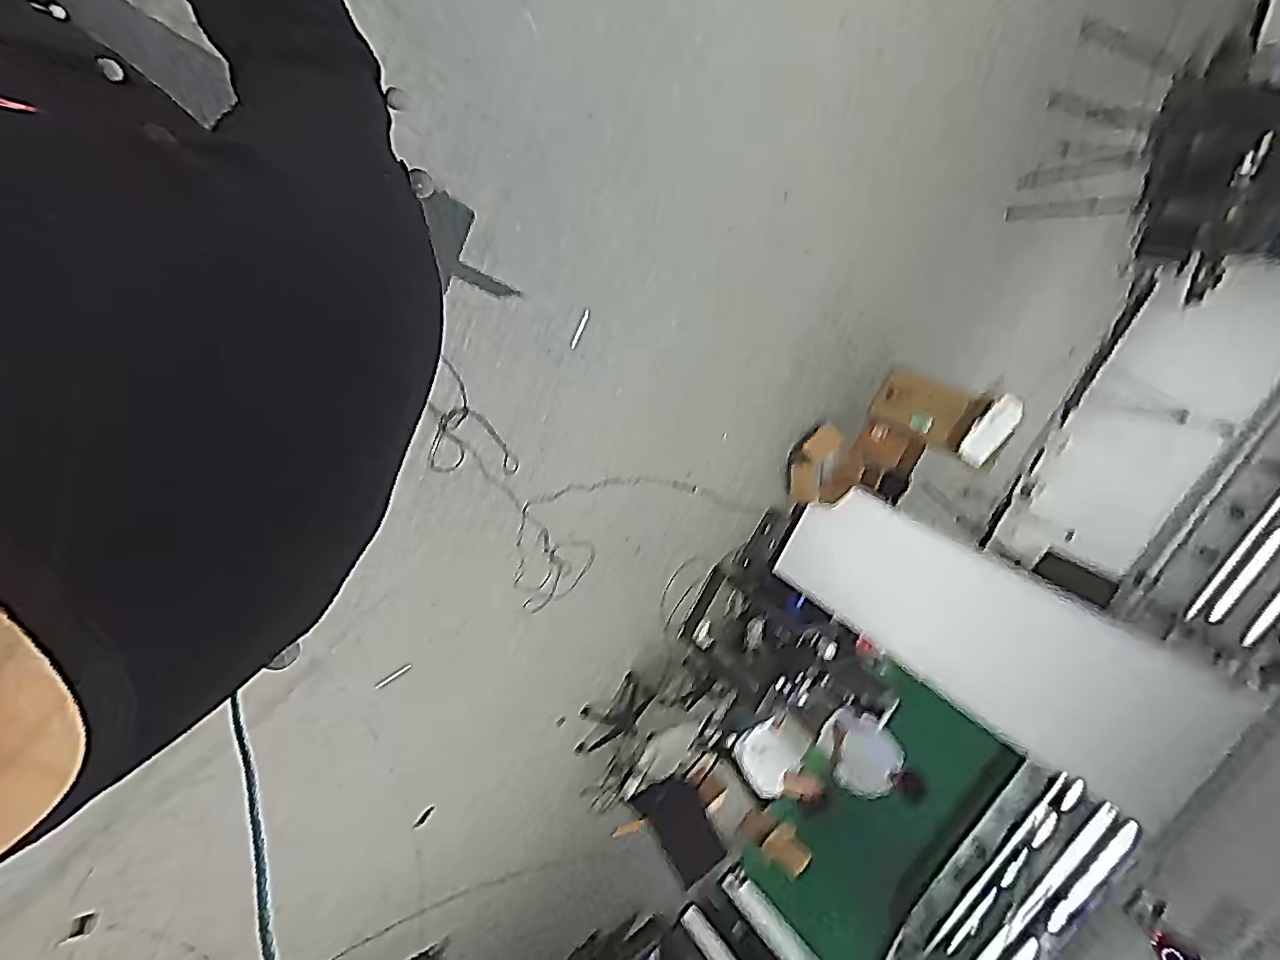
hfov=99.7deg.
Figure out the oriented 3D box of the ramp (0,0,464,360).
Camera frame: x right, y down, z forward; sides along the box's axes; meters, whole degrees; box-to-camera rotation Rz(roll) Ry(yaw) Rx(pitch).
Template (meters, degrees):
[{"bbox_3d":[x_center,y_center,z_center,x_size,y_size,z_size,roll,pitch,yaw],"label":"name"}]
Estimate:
[{"bbox_3d":[-0.863,-0.603,1.200,0.991,0.206,0.509,8,111,-49],"label":"ramp"}]
